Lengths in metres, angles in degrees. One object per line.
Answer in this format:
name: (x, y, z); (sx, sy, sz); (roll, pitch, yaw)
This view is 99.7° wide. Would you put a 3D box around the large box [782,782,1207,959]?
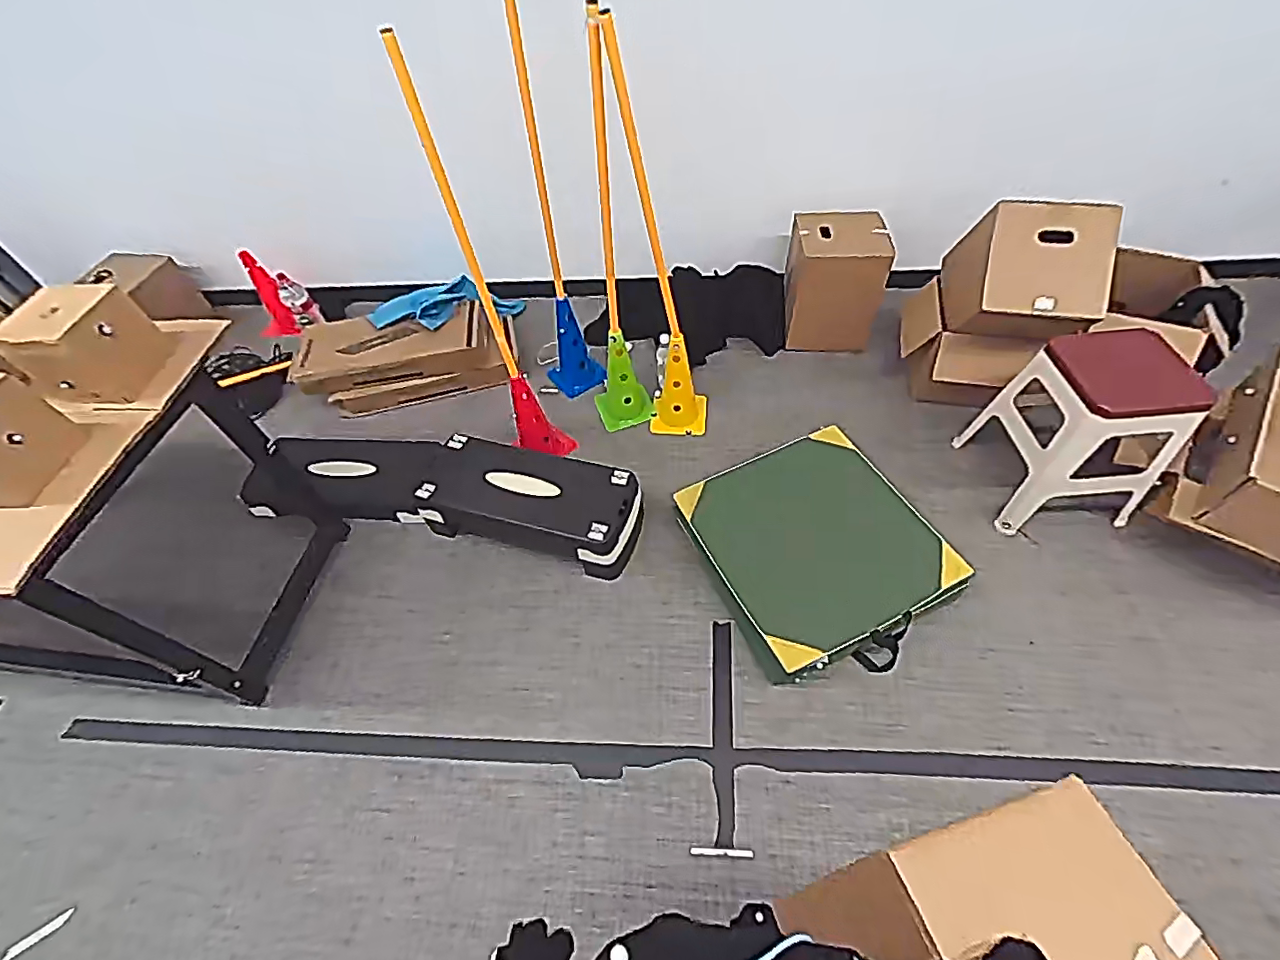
large box: (0.443, 0.654, 0.701); (0.320, 0.408, 0.320); (-7, 47, -16)
